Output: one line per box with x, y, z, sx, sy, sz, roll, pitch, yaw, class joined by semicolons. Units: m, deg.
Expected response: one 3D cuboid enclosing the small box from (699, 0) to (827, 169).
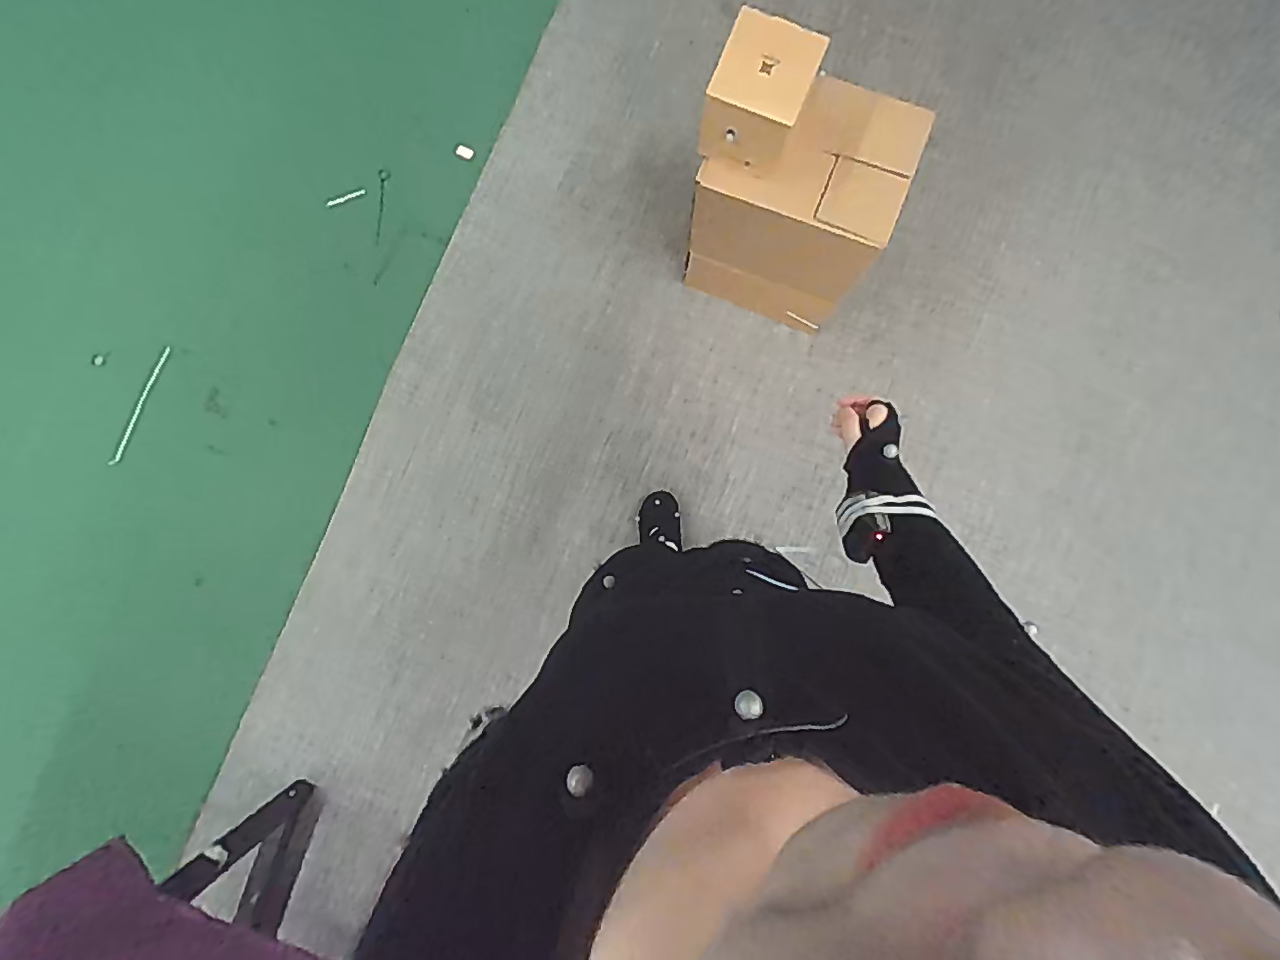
0.216;-0.725;1.007;0.168;0.176;0.179;23;88;1;small box
